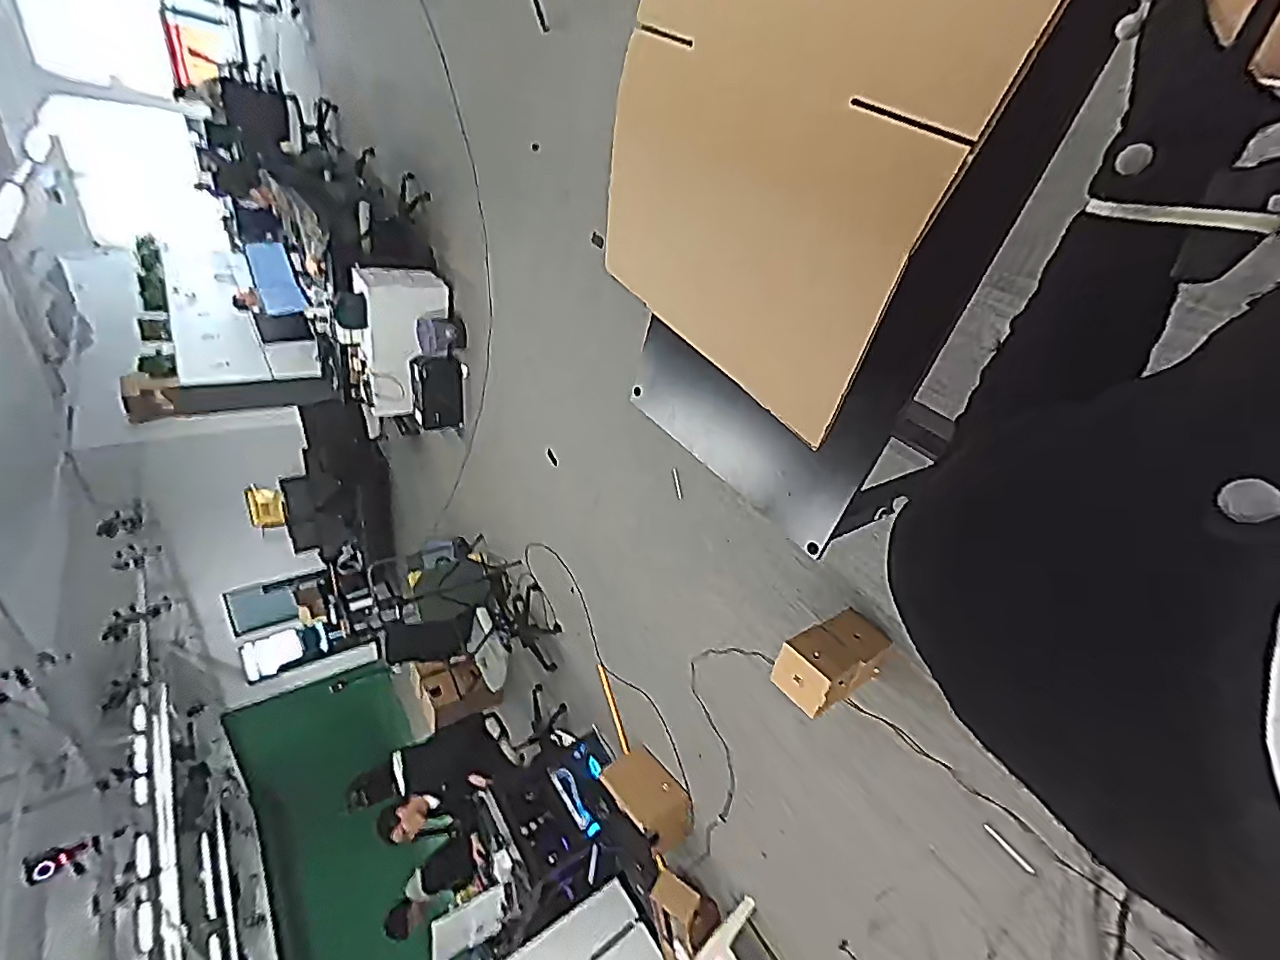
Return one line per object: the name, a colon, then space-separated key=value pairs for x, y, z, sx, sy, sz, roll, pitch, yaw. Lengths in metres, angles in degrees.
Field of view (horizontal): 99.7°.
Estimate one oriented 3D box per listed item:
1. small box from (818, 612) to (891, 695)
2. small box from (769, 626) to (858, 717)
small box: x=0.666 y=0.550 z=1.748 sx=0.179 sy=0.176 sz=0.168 roll=41 pitch=132 yaw=38
small box: x=0.534 y=0.577 z=1.659 sx=0.179 sy=0.176 sz=0.168 roll=40 pitch=129 yaw=42
